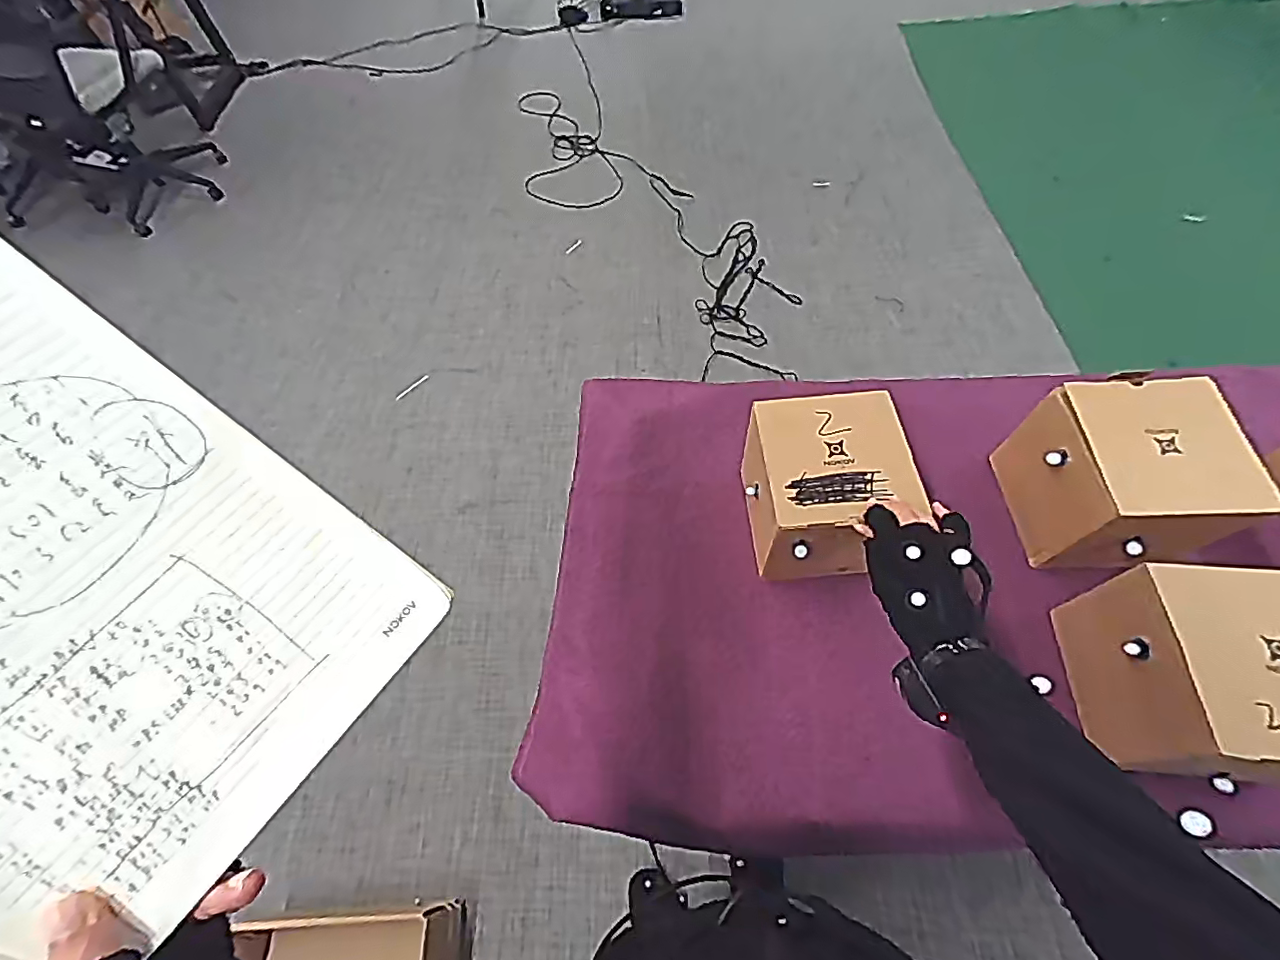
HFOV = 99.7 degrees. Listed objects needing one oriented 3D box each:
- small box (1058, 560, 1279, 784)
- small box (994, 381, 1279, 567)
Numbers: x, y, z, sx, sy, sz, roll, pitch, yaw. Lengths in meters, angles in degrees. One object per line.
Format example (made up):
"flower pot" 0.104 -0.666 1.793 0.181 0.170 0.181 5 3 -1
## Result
"small box" 0.573 0.198 0.548 0.168 0.176 0.179 3 60 7
"small box" 0.581 0.002 0.665 0.168 0.176 0.179 -2 59 4
